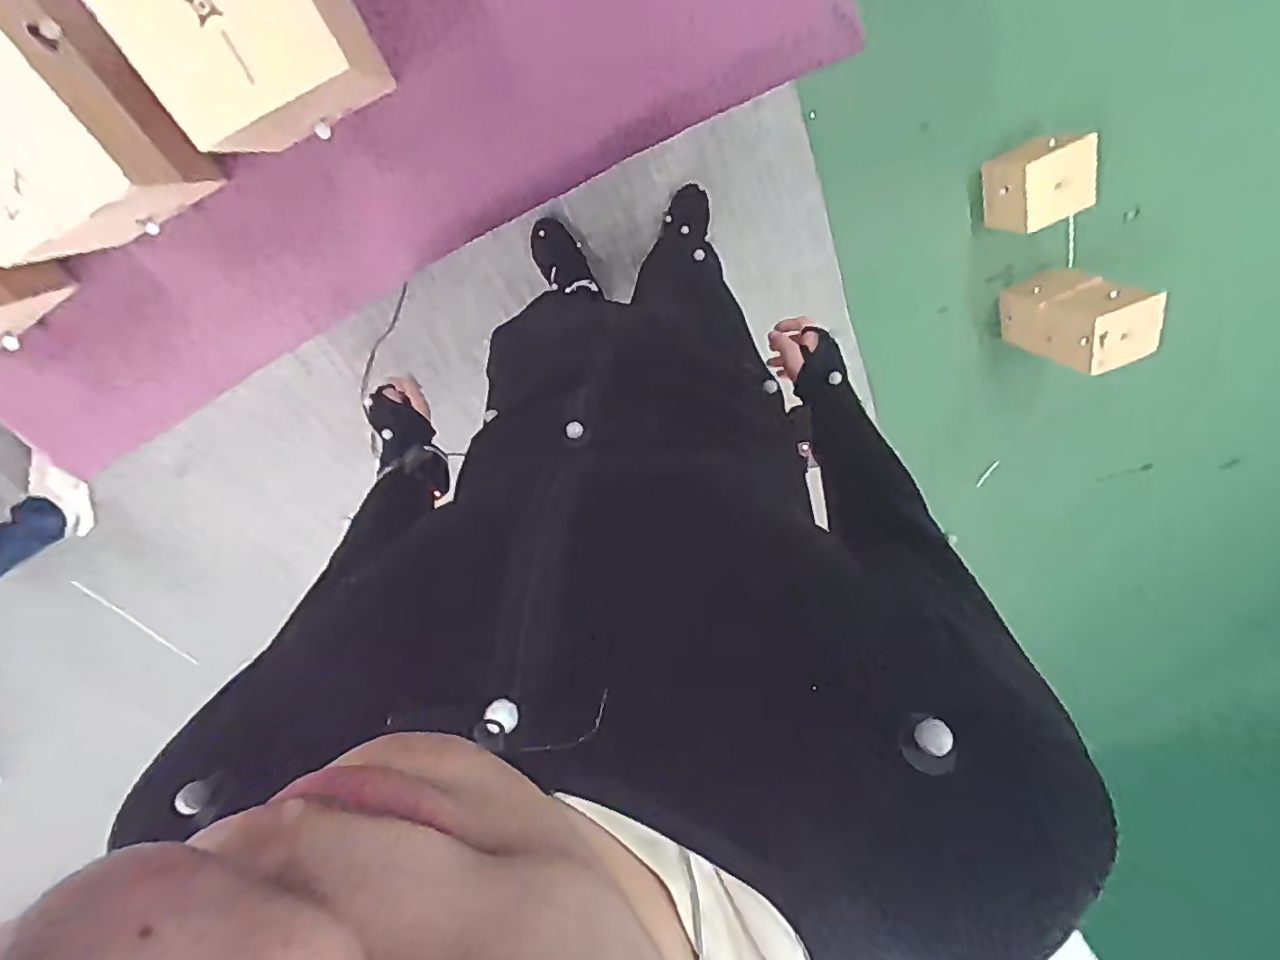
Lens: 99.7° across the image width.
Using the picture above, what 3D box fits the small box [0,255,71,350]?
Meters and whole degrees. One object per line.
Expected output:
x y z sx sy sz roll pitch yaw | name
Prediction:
-0.804 -0.221 0.578 0.168 0.176 0.179 -29 121 10 | small box

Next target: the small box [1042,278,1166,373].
1.215 -0.414 1.429 0.179 0.176 0.168 -22 122 5 | small box

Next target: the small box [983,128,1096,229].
1.010 -0.767 1.381 0.179 0.176 0.168 -25 121 6 | small box

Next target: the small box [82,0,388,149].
-0.377 -0.439 0.511 0.168 0.176 0.179 -23 123 6 | small box

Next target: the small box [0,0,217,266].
-0.590 -0.343 0.537 0.168 0.176 0.179 -25 122 6 | small box
